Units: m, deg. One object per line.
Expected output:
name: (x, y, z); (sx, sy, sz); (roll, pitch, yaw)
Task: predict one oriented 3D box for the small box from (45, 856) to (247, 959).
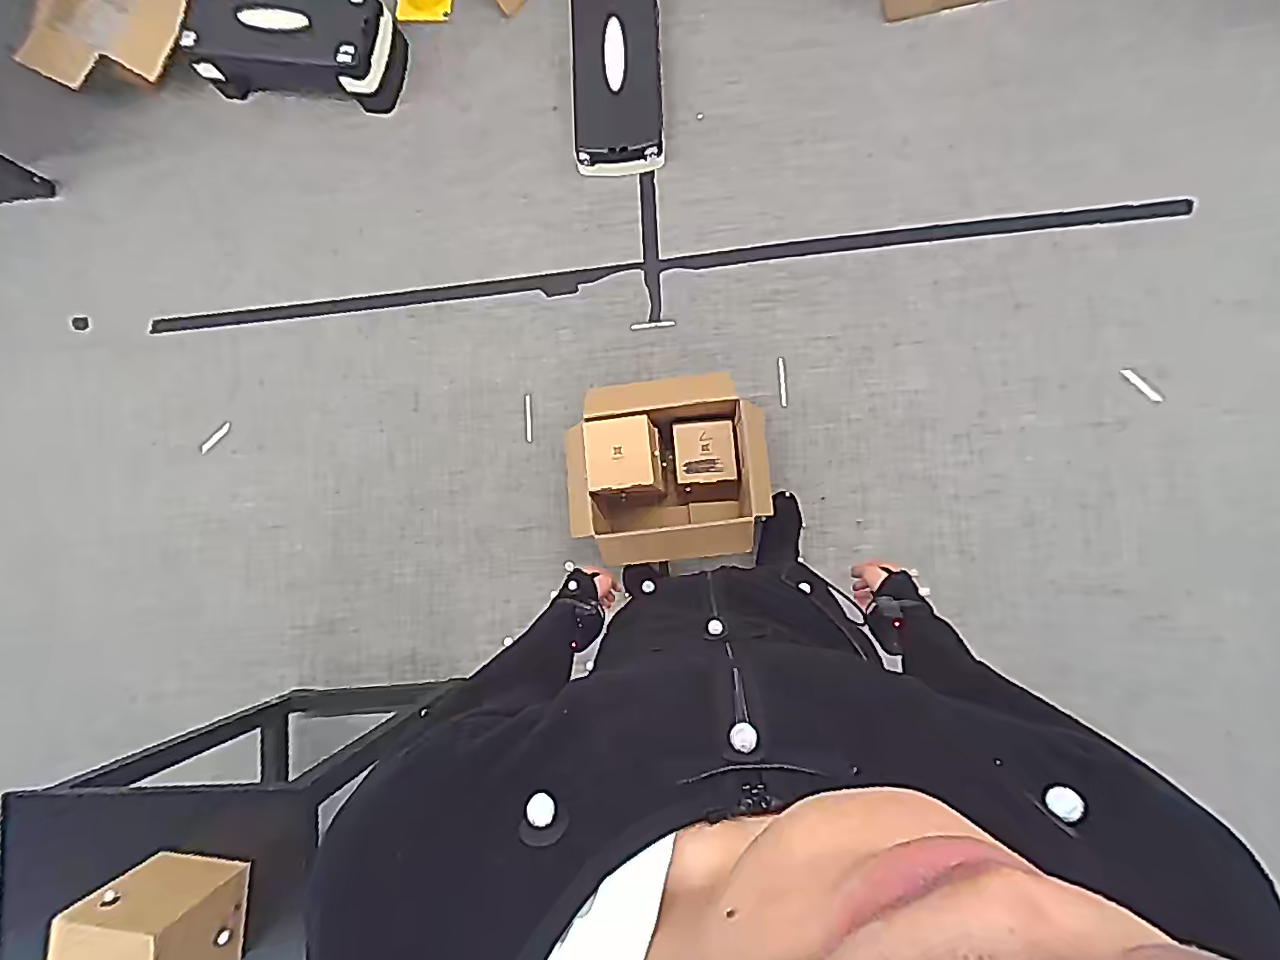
small box: (-0.776, 0.735, 0.856); (0.179, 0.176, 0.168); (3, 86, 6)
